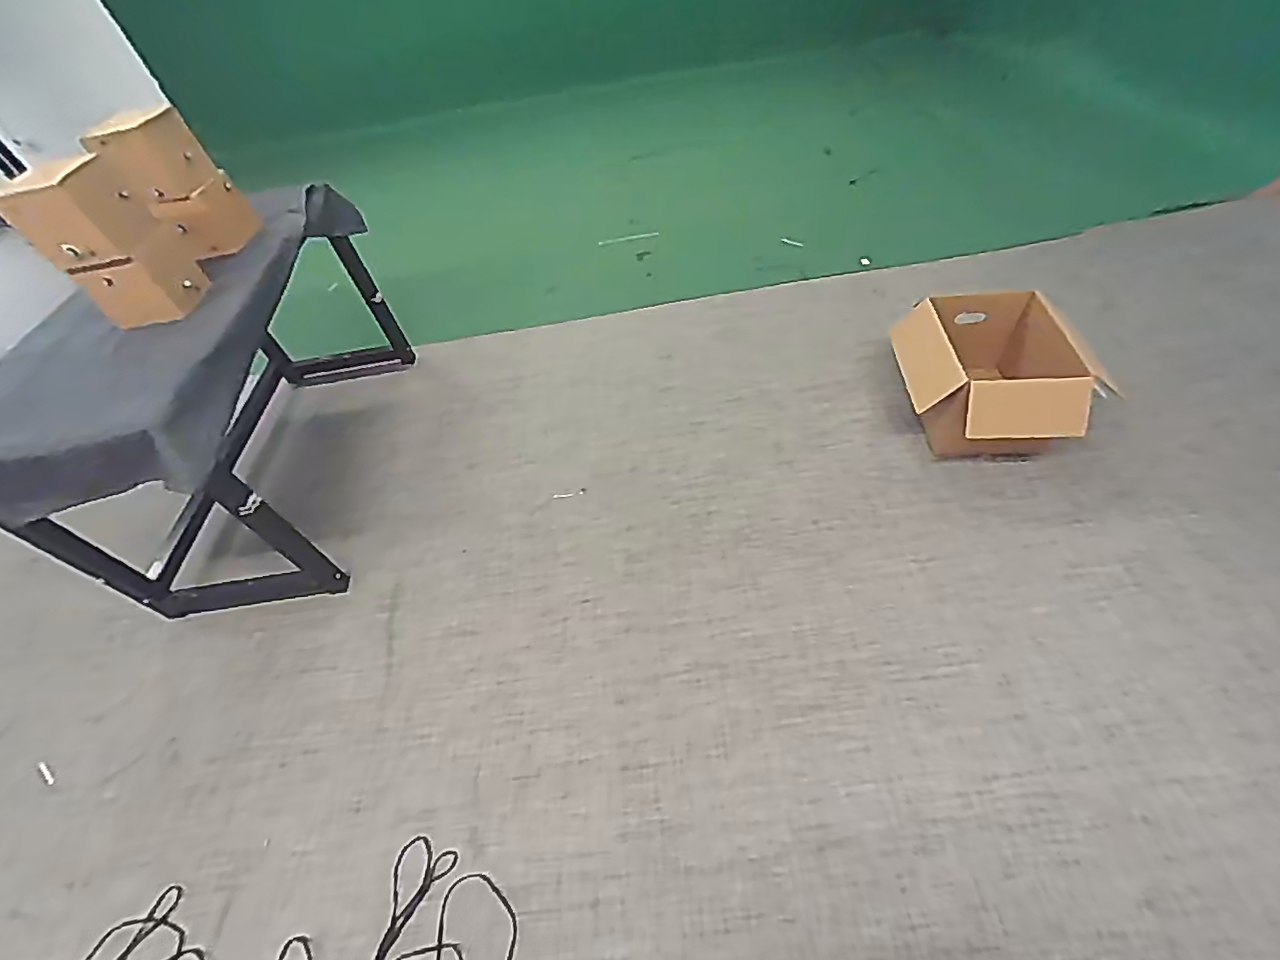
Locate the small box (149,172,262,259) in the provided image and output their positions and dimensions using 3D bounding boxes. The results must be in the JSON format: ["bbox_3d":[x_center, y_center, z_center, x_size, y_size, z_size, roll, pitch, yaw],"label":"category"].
[{"bbox_3d":[-1.259,-0.765,1.582,0.168,0.176,0.179,-8,50,4],"label":"small box"}]

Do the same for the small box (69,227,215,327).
[{"bbox_3d":[-1.242,-0.508,1.365,0.179,0.176,0.168,-9,50,2],"label":"small box"}]

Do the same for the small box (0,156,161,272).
[{"bbox_3d":[-1.262,-0.605,1.237,0.168,0.176,0.179,-11,51,3],"label":"small box"}]

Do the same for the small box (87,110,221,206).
[{"bbox_3d":[-1.297,-0.866,1.452,0.168,0.176,0.179,-5,50,7],"label":"small box"}]
